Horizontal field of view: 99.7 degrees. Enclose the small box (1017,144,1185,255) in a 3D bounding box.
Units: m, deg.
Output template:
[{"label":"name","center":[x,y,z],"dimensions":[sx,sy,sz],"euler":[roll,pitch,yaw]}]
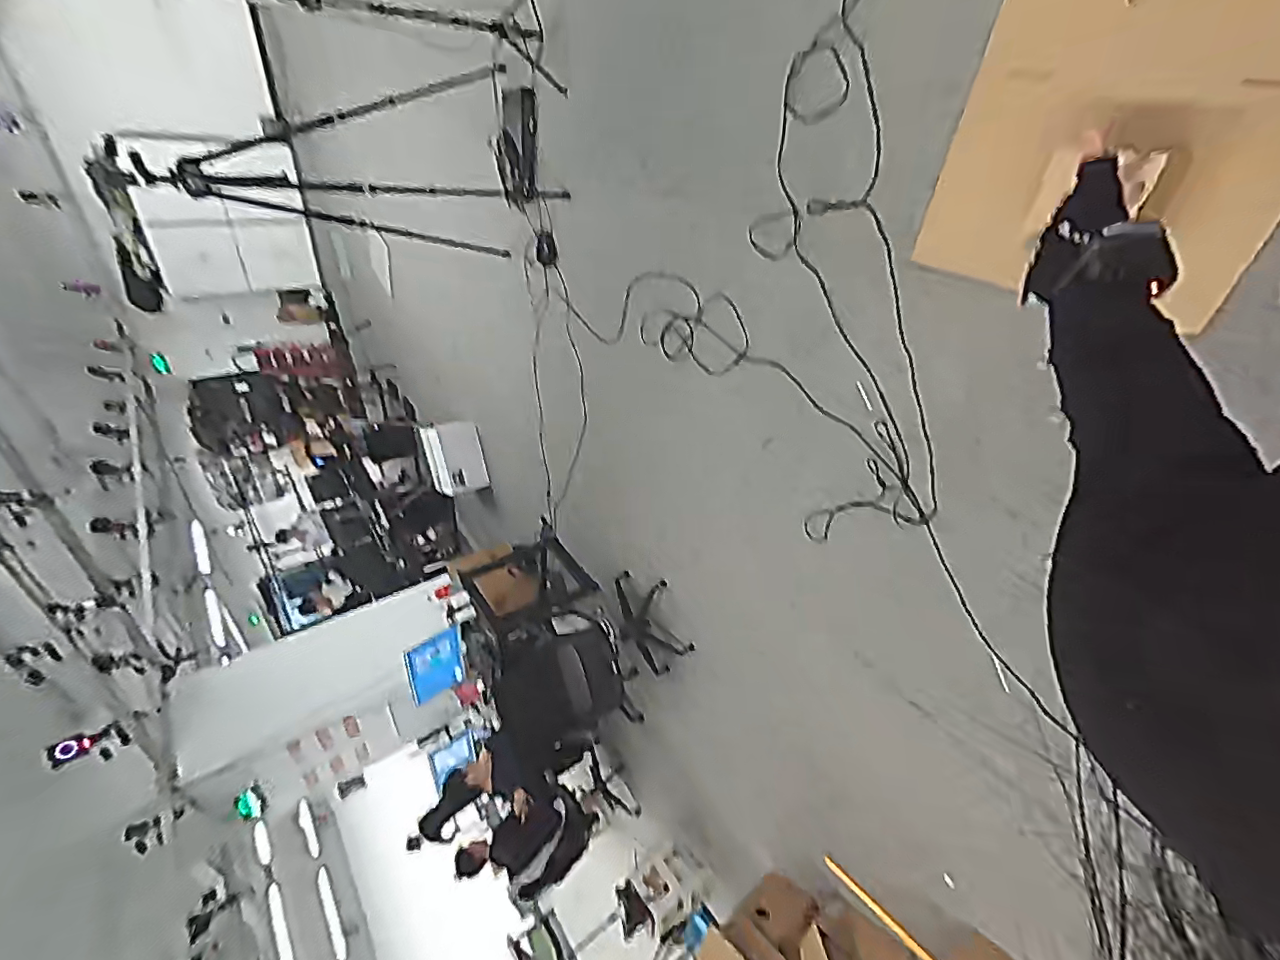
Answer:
[{"label":"small box","center":[0.886,-0.545,1.042],"dimensions":[0.179,0.176,0.168],"euler":[38,136,40]}]
